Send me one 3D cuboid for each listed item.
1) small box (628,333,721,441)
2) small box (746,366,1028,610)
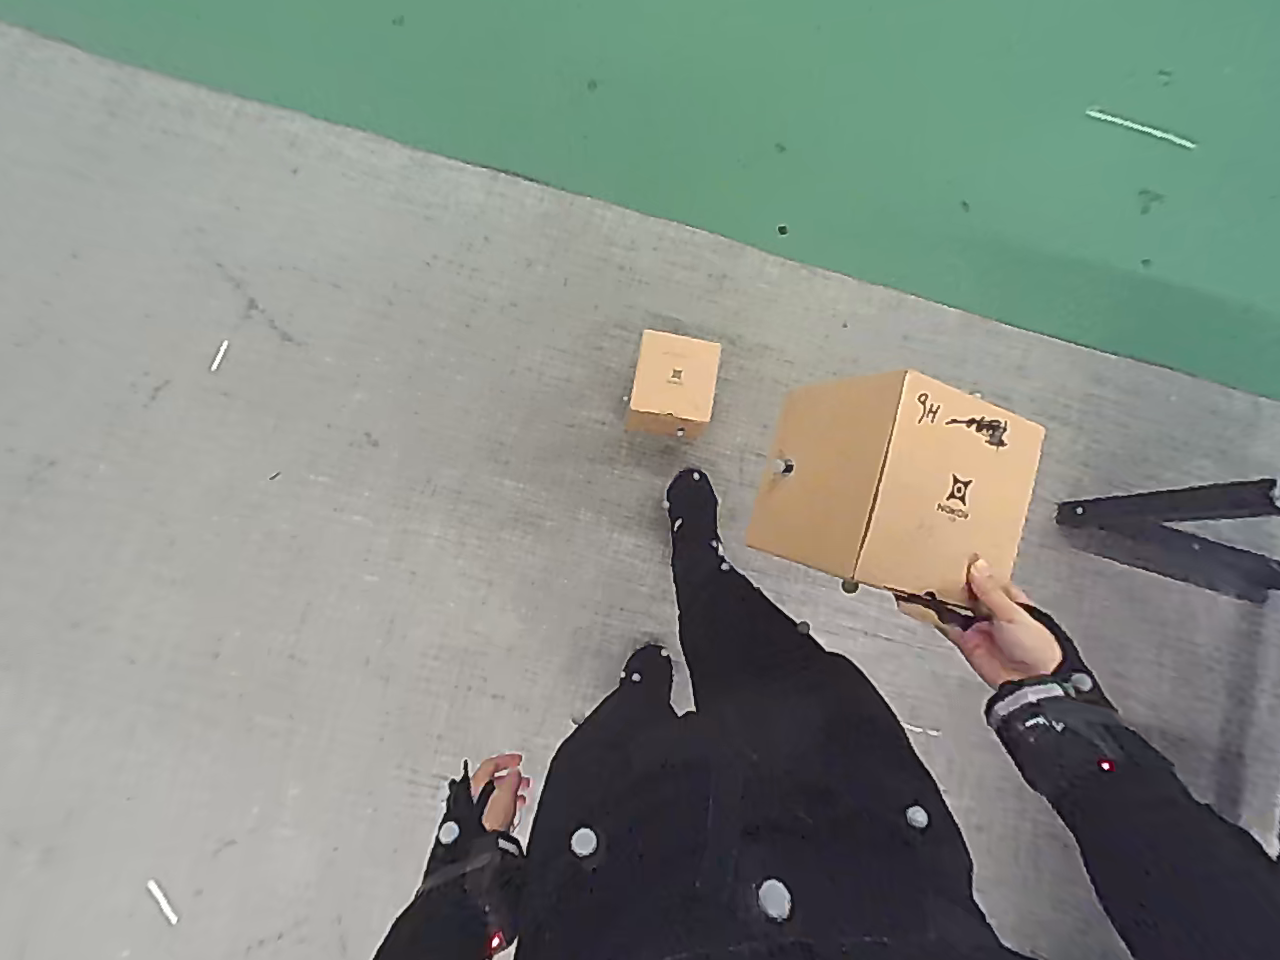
[{"bbox_3d":[0.068,-0.192,1.176,0.168,0.176,0.179,10,80,-4],"label":"small box"},{"bbox_3d":[0.226,0.007,0.532,0.168,0.176,0.179,16,88,-19],"label":"small box"}]
